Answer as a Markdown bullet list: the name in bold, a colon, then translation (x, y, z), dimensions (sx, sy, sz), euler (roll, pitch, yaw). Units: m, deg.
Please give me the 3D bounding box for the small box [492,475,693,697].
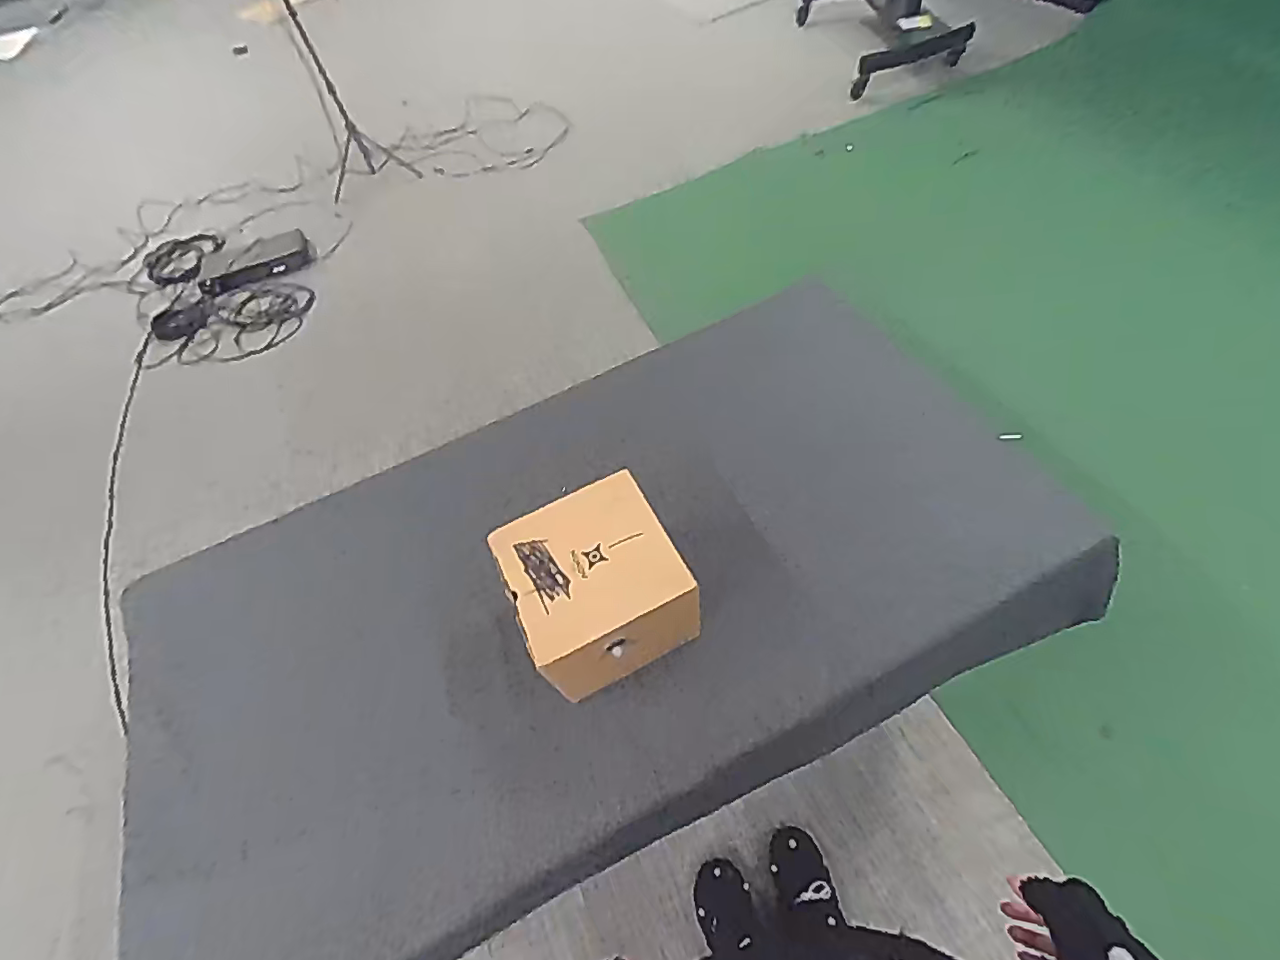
- **small box**: translation (-0.047, 0.132, 0.642), dimensions (0.179, 0.176, 0.168), euler (-25, 58, -10)
